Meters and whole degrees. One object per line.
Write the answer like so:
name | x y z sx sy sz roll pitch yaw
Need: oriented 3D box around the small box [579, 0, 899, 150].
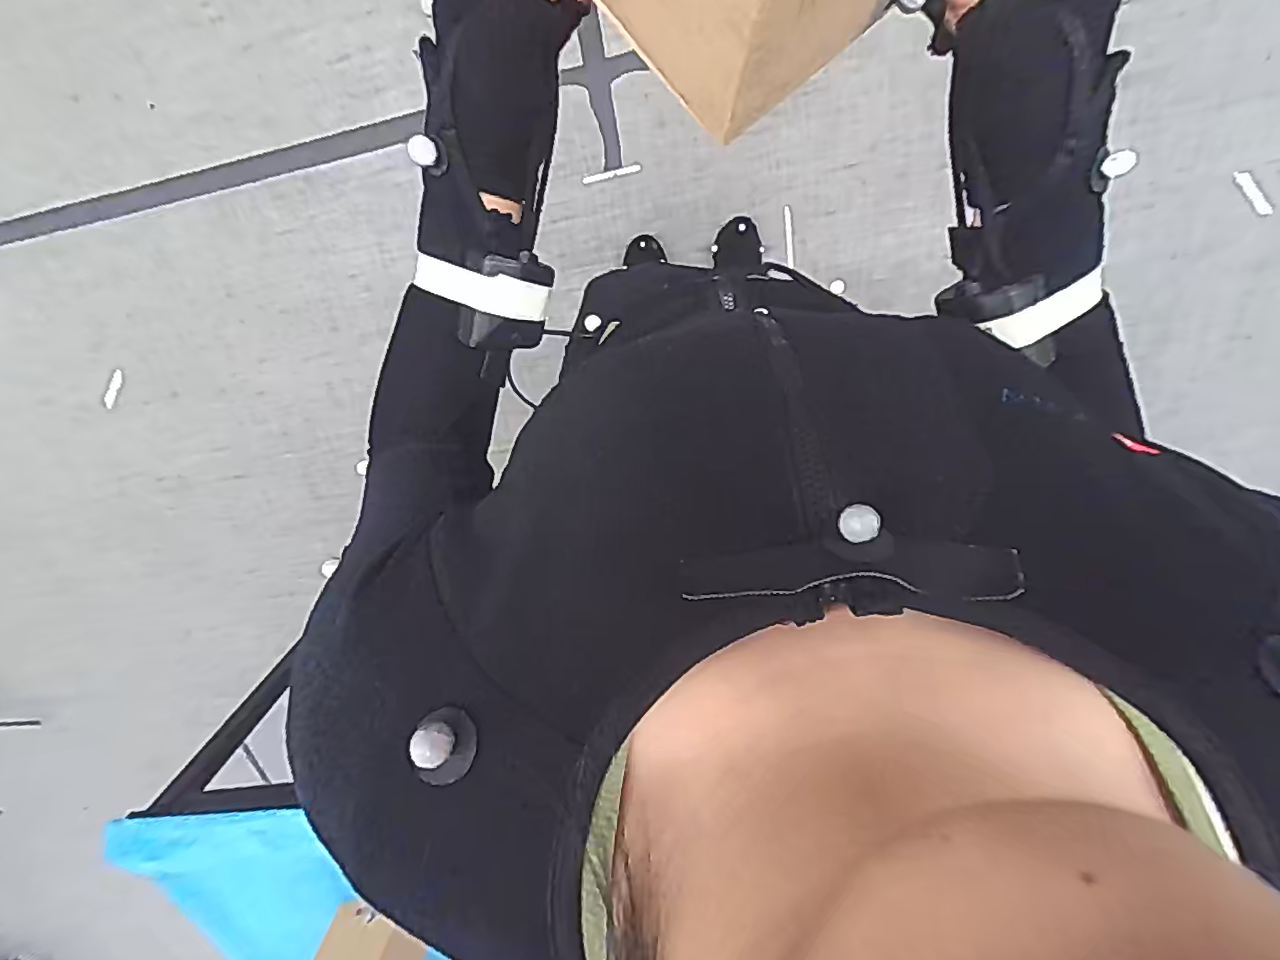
small box | 0.041 -0.274 0.180 0.168 0.176 0.179 -37 91 0

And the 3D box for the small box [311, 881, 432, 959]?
small box | -0.610 1.068 1.252 0.168 0.176 0.179 -9 115 8
